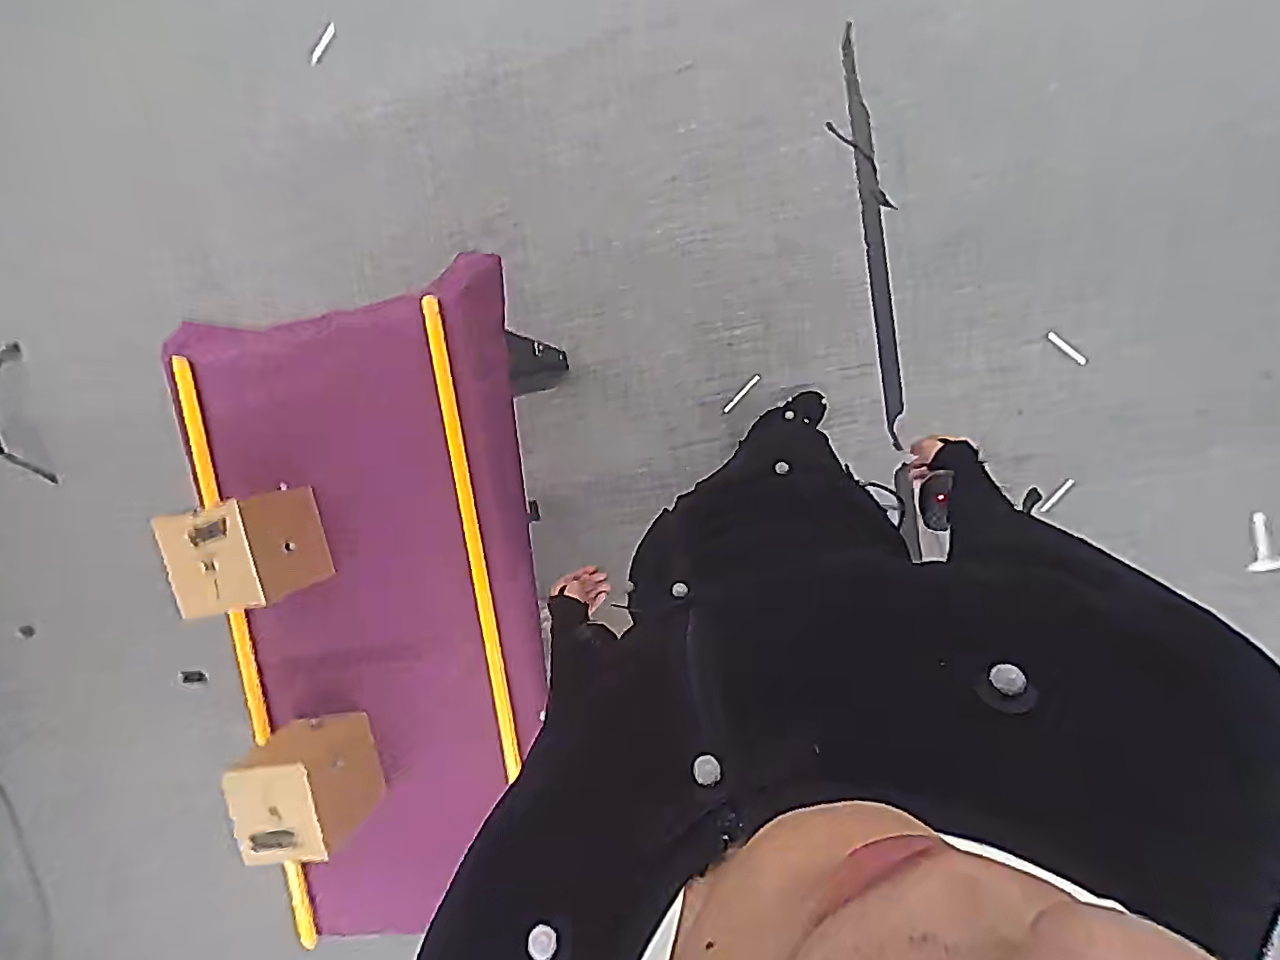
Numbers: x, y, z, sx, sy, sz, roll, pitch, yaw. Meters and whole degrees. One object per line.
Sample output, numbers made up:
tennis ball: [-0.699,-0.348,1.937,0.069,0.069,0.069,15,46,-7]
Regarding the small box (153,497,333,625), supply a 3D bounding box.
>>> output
small box: [-0.686,0.132,0.954,0.168,0.176,0.179,-12,95,9]
